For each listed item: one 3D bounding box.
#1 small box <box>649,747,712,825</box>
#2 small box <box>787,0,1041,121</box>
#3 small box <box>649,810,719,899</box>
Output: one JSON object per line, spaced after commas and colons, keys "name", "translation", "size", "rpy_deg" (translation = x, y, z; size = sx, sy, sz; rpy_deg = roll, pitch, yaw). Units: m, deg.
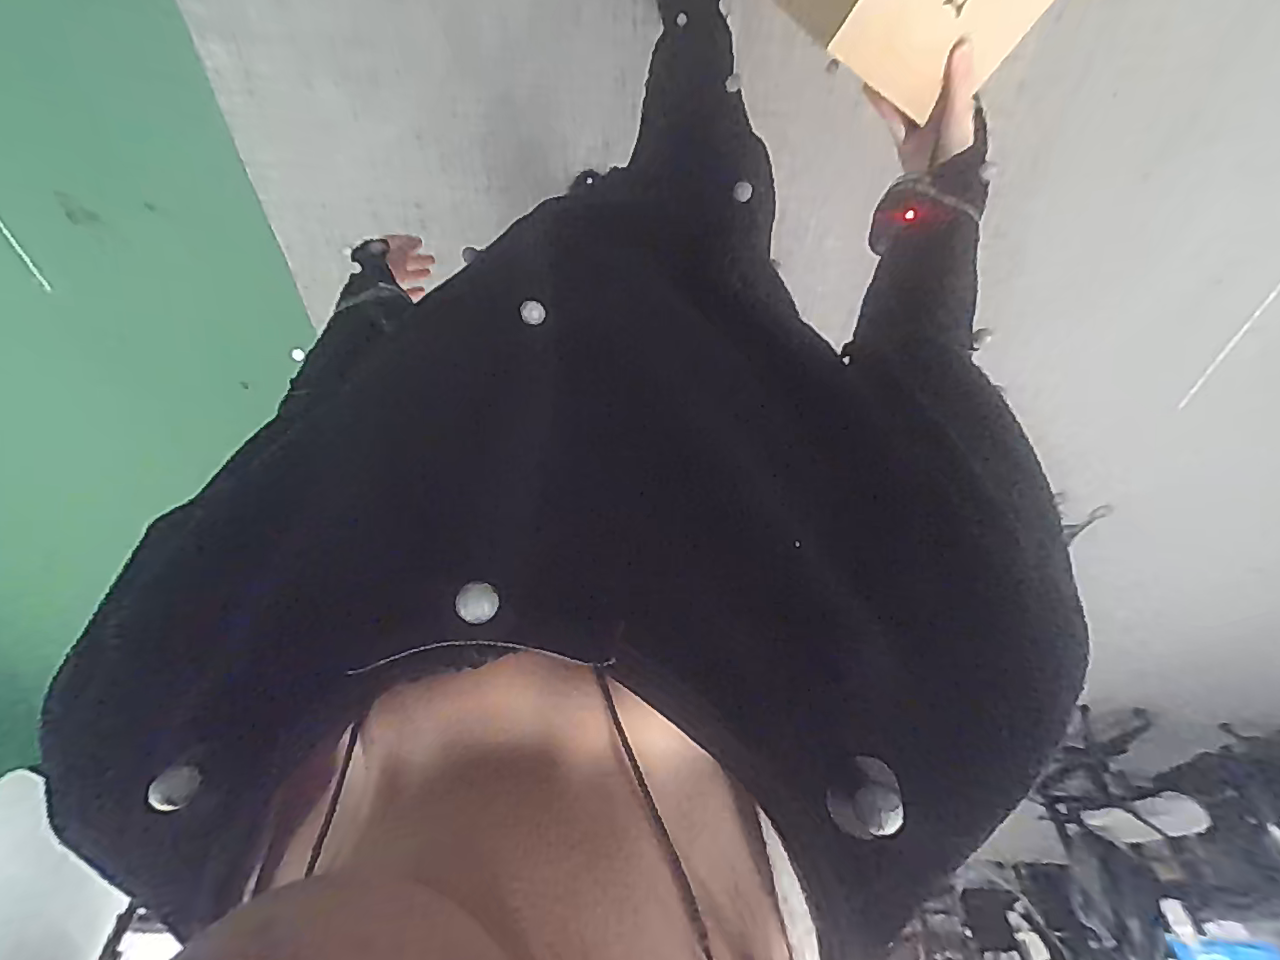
{"name": "small box", "translation": [0.114, 0.910, 1.593], "size": [0.168, 0.176, 0.179], "rpy_deg": [1, 132, -1]}
{"name": "small box", "translation": [0.239, -0.467, 0.465], "size": [0.168, 0.176, 0.179], "rpy_deg": [7, 140, -32]}
{"name": "small box", "translation": [0.112, 1.014, 1.466], "size": [0.168, 0.176, 0.179], "rpy_deg": [3, 132, -2]}
